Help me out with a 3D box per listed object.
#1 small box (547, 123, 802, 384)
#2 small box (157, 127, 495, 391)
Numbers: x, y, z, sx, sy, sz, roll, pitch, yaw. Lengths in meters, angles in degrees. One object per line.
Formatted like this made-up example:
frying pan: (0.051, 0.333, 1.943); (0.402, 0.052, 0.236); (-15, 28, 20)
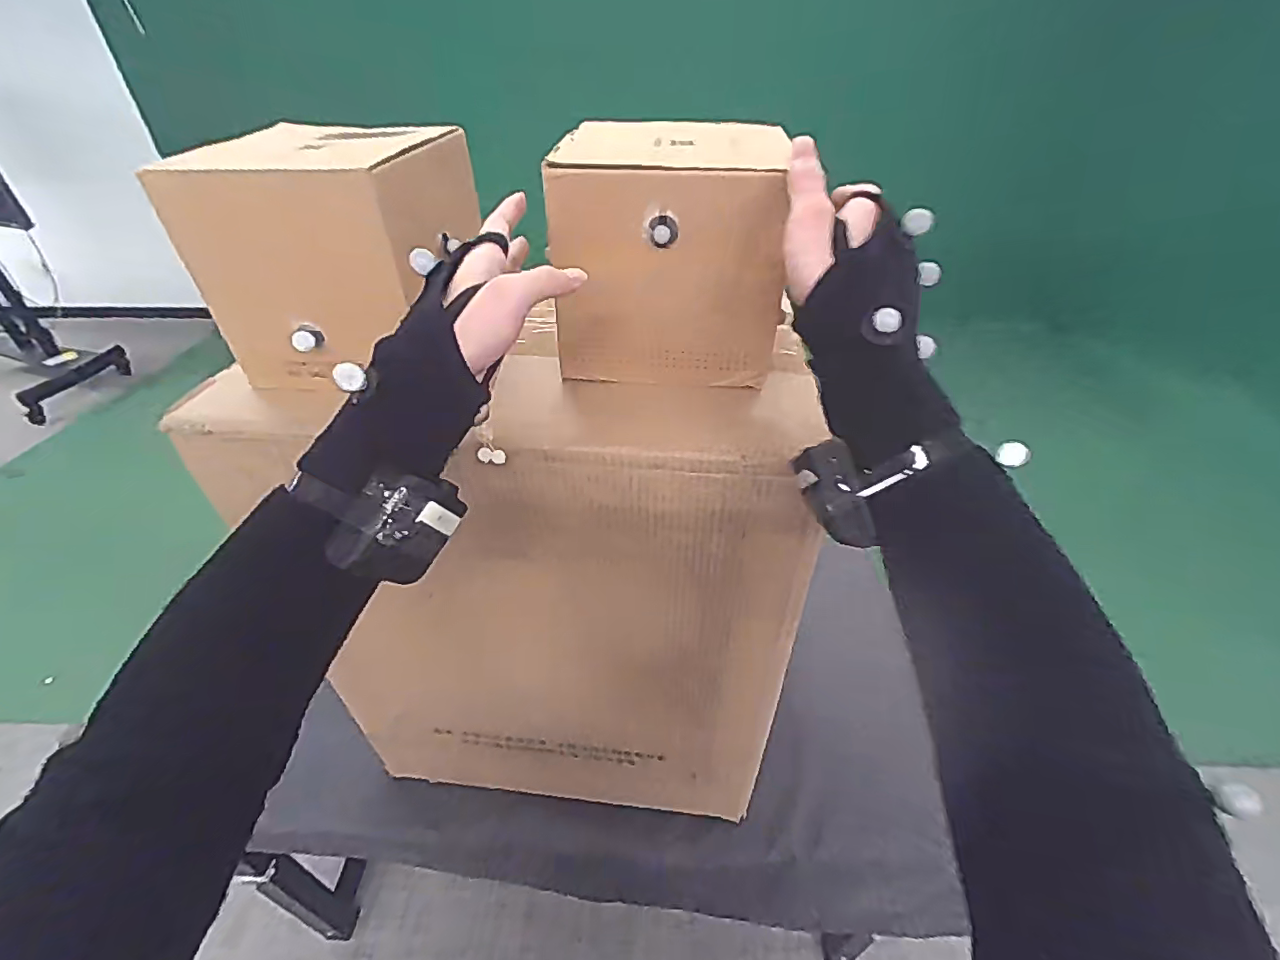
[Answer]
small box: (0.028, -0.198, 0.472); (0.179, 0.176, 0.168); (5, 42, 3)
small box: (-0.237, -0.196, 0.471); (0.168, 0.176, 0.179); (3, 41, 5)
